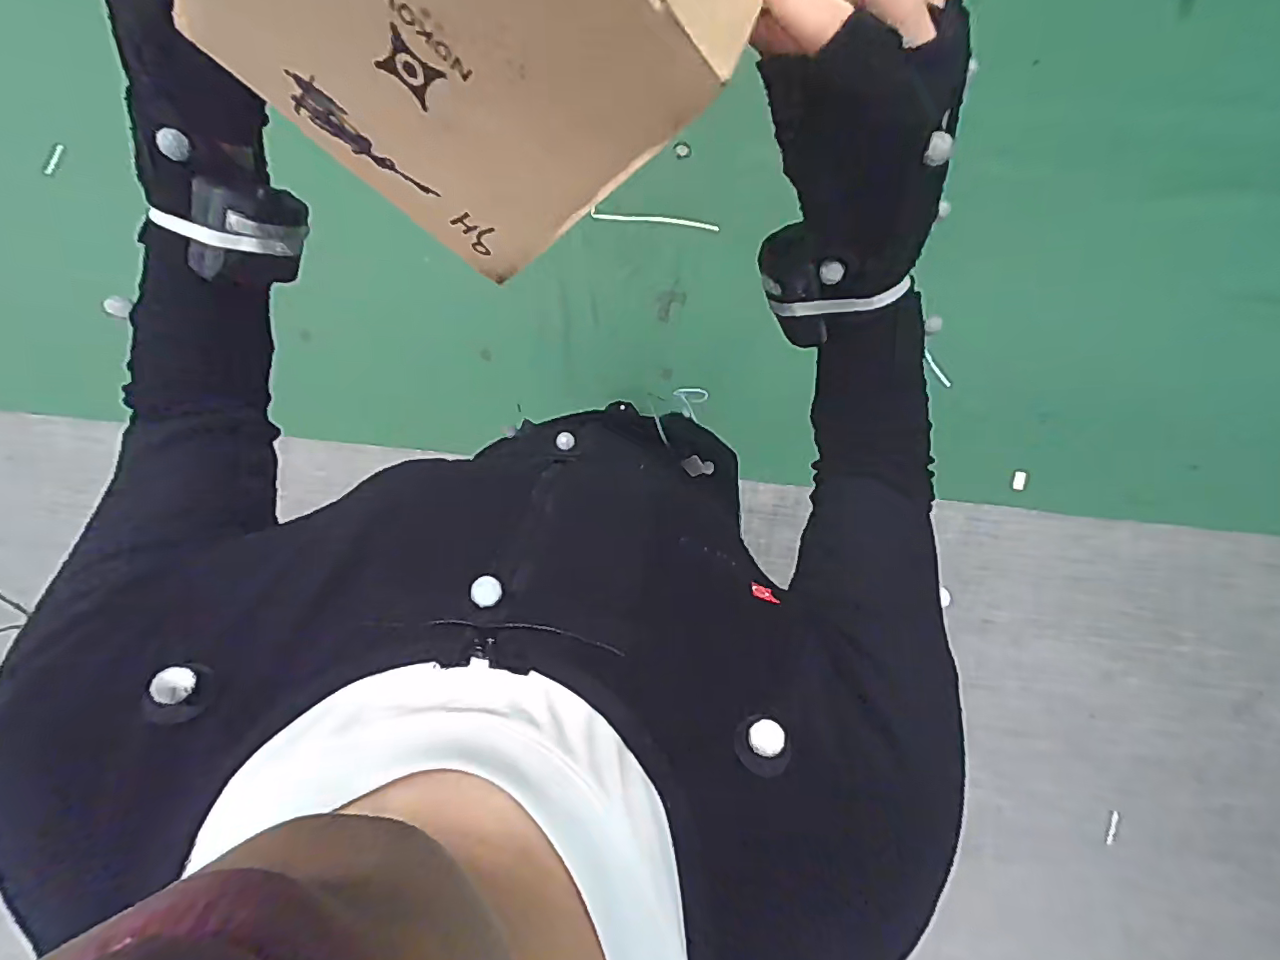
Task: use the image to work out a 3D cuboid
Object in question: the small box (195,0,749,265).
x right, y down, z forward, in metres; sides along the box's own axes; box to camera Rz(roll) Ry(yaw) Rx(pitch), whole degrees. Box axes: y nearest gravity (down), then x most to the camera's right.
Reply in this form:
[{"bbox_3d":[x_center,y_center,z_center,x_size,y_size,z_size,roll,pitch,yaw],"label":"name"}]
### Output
[{"bbox_3d":[-0.057,-0.245,0.246,0.168,0.179,0.176,36,62,-32],"label":"small box"}]
